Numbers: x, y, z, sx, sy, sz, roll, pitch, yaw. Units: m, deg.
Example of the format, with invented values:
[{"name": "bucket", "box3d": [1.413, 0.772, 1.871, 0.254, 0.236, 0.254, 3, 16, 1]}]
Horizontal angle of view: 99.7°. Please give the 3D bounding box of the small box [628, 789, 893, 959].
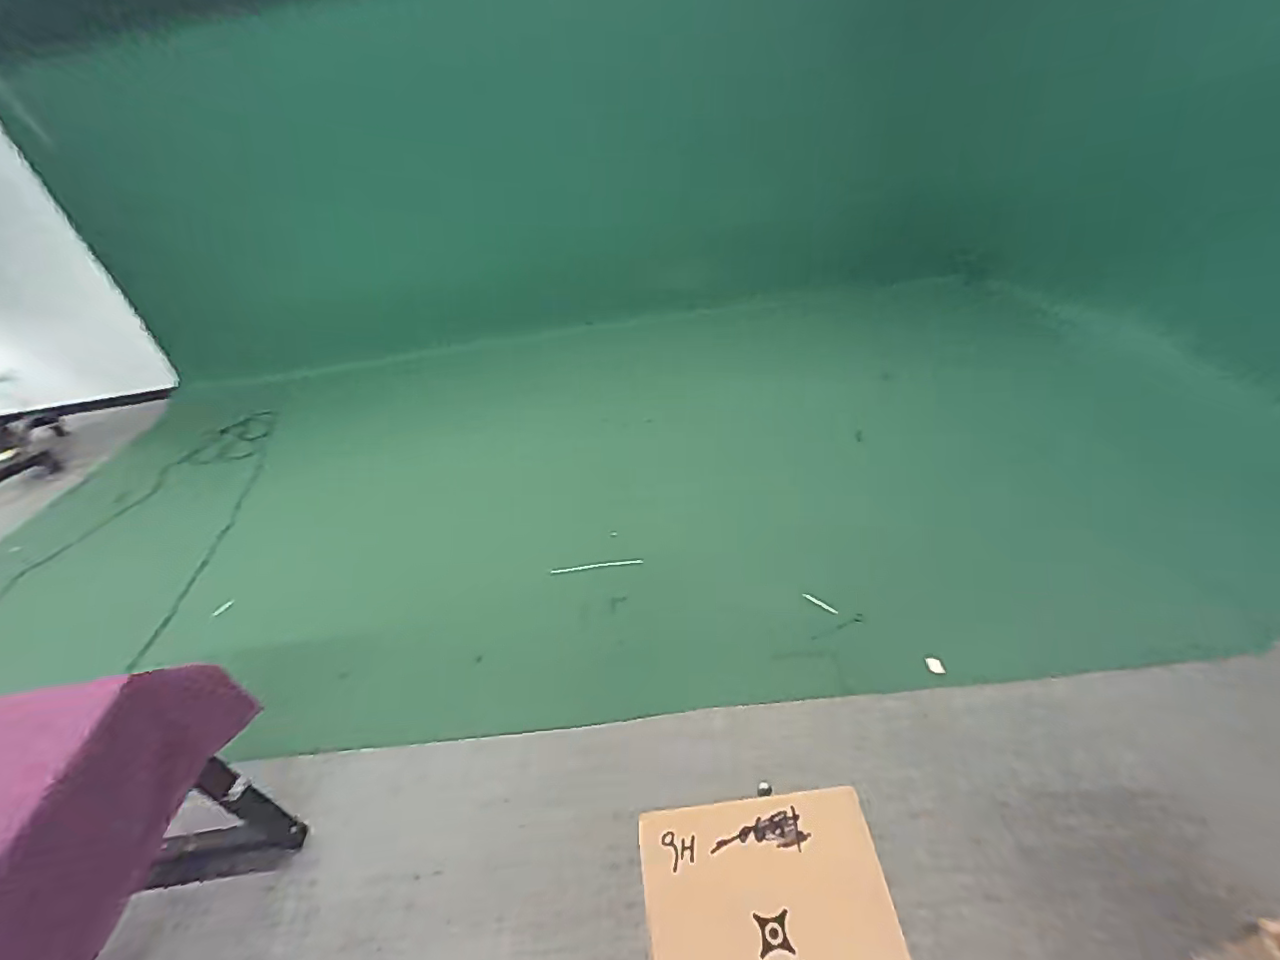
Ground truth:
[{"name": "small box", "box3d": [0.088, 0.358, 0.410, 0.168, 0.176, 0.179, -9, 49, 0]}]
